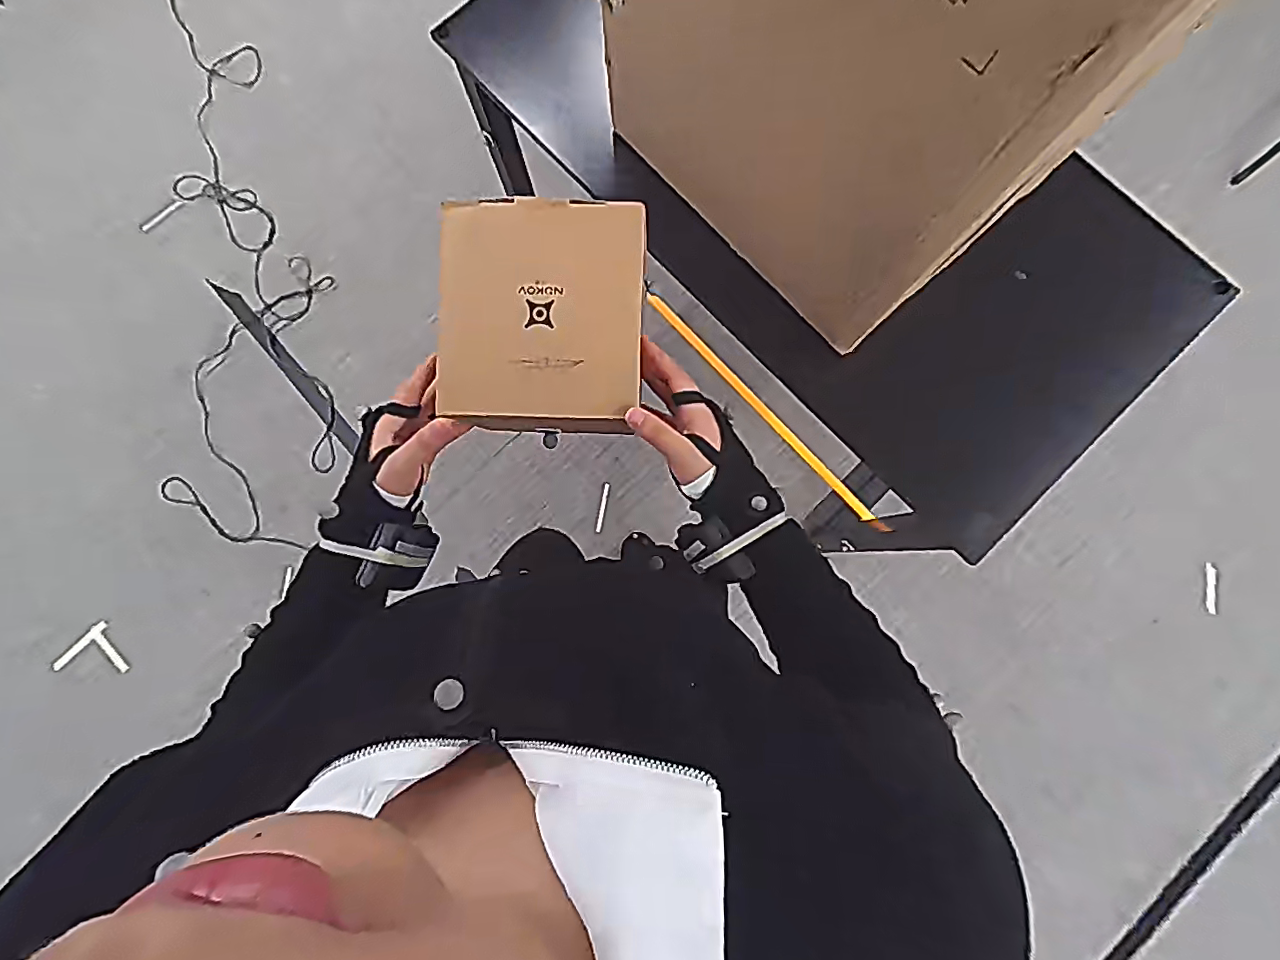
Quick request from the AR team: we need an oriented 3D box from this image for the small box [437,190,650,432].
[{"bbox_3d":[-0.077,-0.142,0.510,0.168,0.176,0.179,2,91,1],"label":"small box"}]
